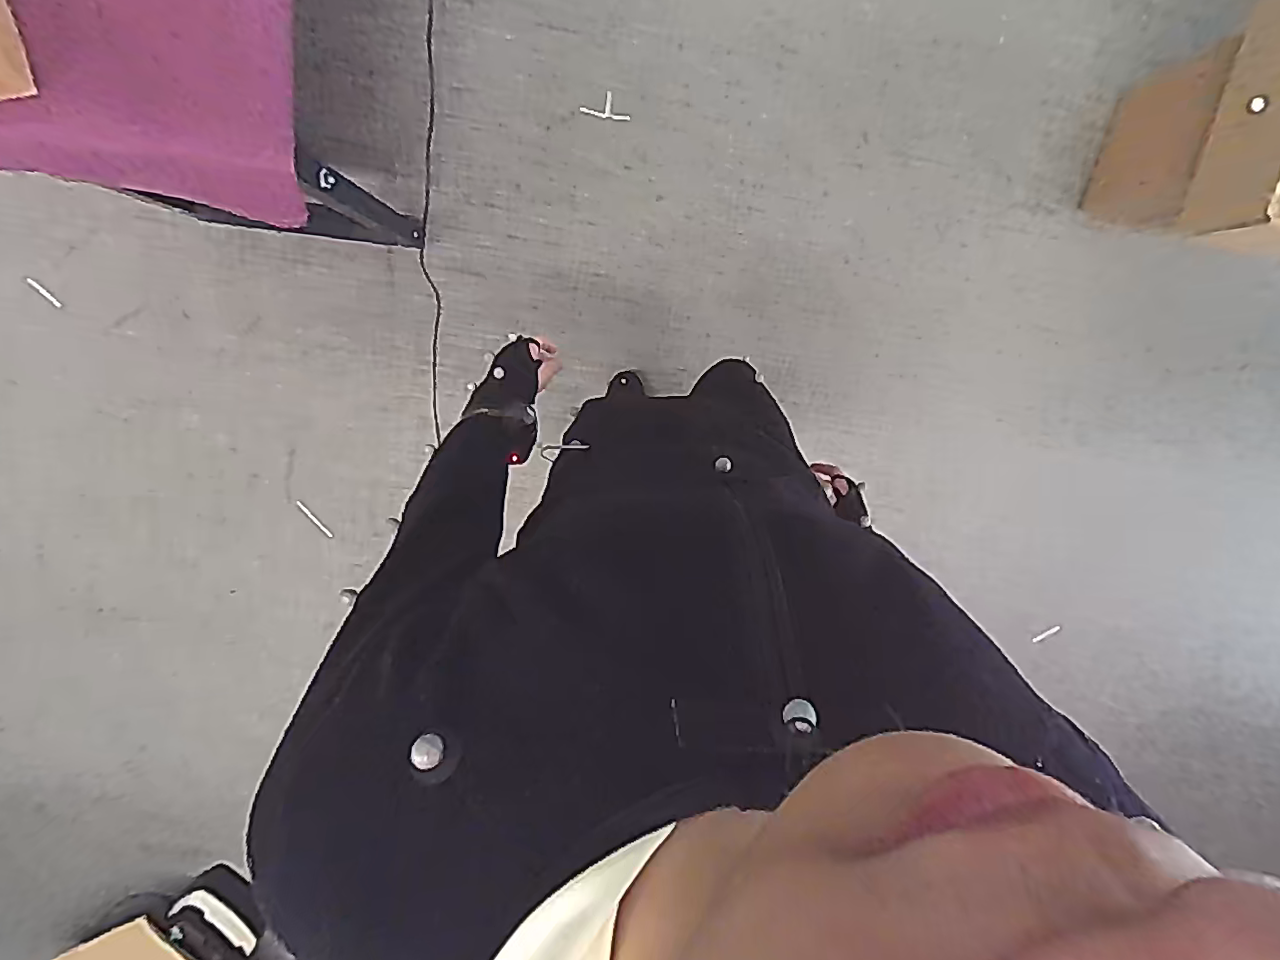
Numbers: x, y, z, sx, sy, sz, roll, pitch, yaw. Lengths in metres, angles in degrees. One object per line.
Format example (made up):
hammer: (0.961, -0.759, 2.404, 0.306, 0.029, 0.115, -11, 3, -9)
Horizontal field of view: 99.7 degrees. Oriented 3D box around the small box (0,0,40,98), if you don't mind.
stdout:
small box: (-0.883, -0.571, 0.631, 0.168, 0.176, 0.179, -7, 103, -2)
